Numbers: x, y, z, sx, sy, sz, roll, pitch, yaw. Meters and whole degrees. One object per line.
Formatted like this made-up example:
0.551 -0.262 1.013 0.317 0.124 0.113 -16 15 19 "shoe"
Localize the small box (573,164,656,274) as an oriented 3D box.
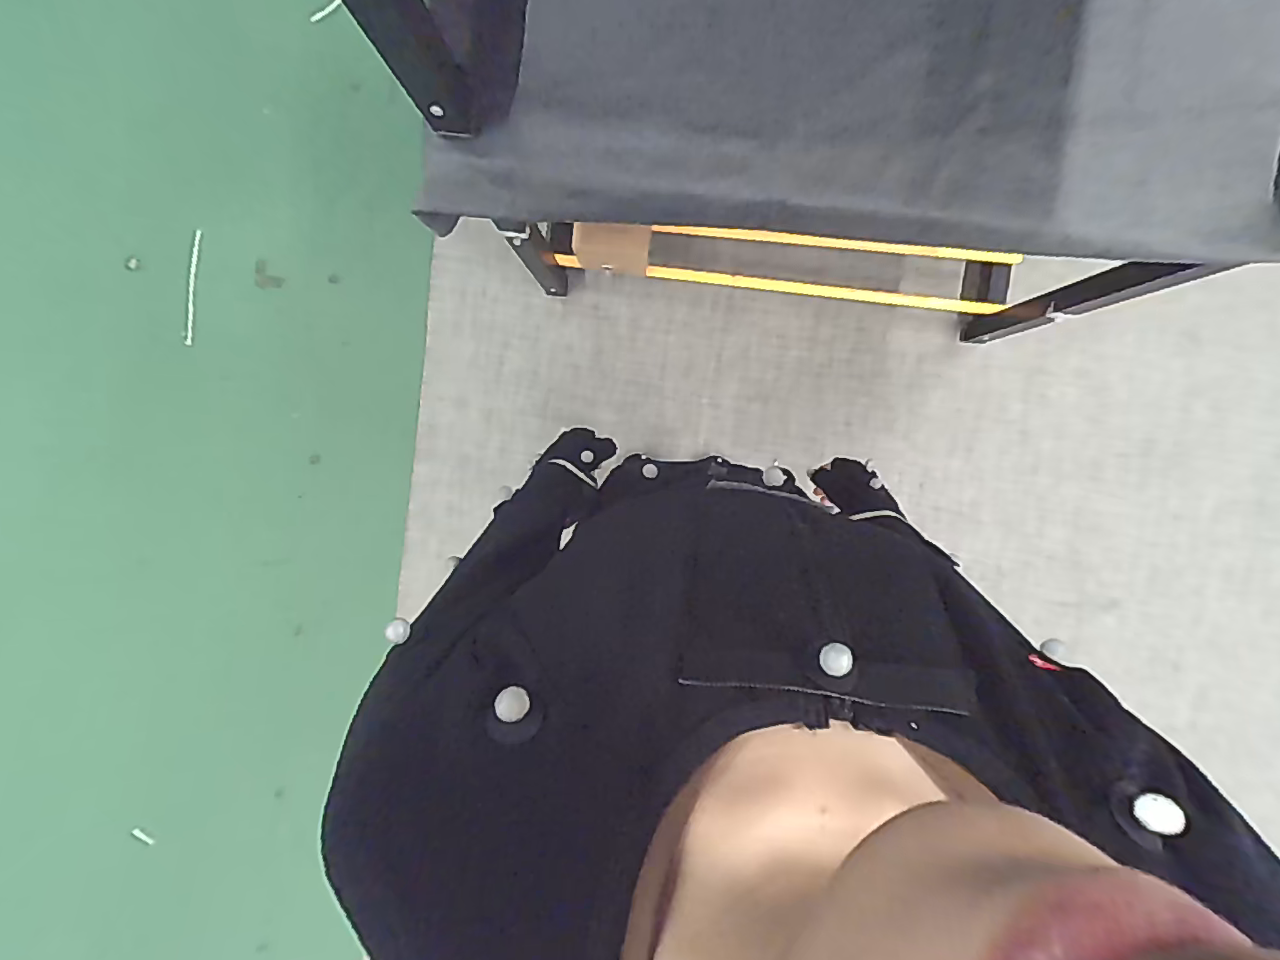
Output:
-0.055 -0.598 1.258 0.168 0.176 0.179 6 96 1 "small box"
